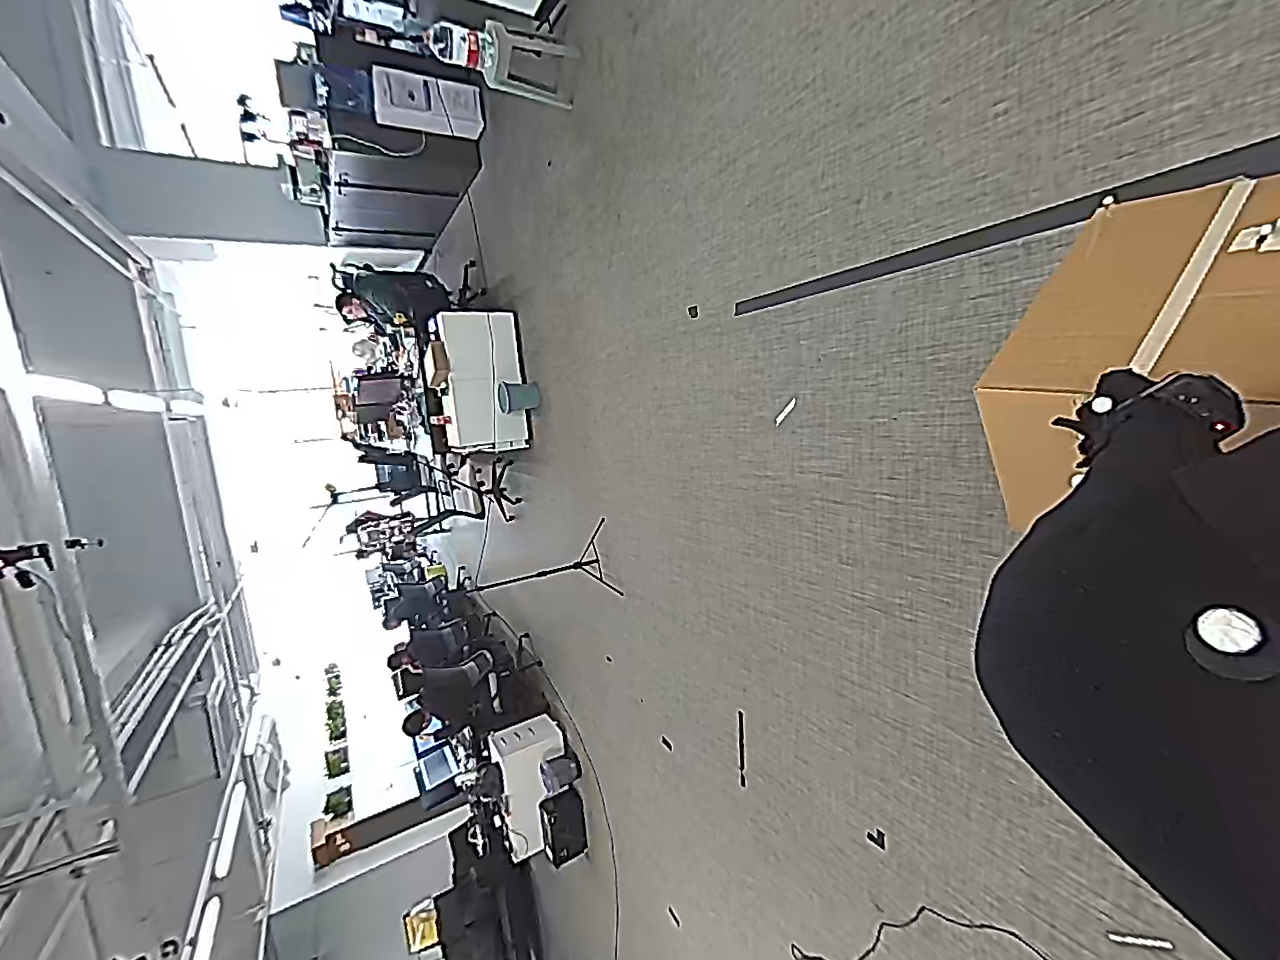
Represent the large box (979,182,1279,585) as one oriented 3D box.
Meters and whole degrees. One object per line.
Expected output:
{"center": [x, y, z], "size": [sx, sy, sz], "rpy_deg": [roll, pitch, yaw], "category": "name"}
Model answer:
{"center": [0.741, -0.134, 0.732], "size": [0.320, 0.408, 0.320], "rpy_deg": [21, 154, 54], "category": "large box"}
